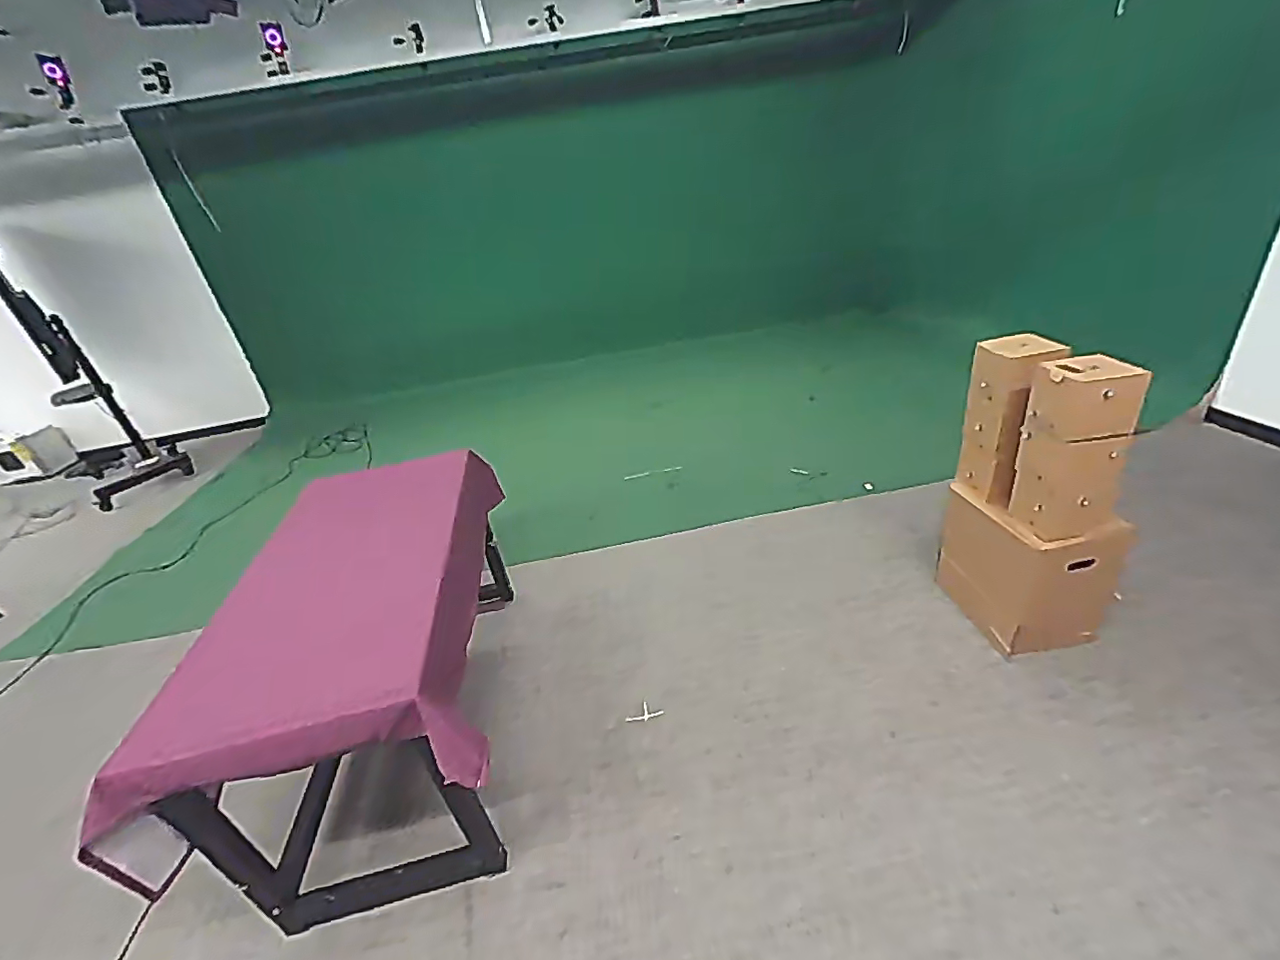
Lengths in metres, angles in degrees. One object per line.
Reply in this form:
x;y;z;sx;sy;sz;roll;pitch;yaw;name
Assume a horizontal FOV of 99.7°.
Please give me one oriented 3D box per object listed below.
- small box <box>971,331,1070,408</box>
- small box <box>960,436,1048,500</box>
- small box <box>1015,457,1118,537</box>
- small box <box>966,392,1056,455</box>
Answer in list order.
1.150;-0.338;1.650;0.179;0.176;0.168;-12;30;0;small box
1.208;-0.055;1.810;0.179;0.176;0.168;-13;31;-1;small box
1.250;0.052;1.603;0.179;0.176;0.168;-9;28;0;small box
1.176;-0.195;1.730;0.179;0.176;0.168;-12;30;0;small box
